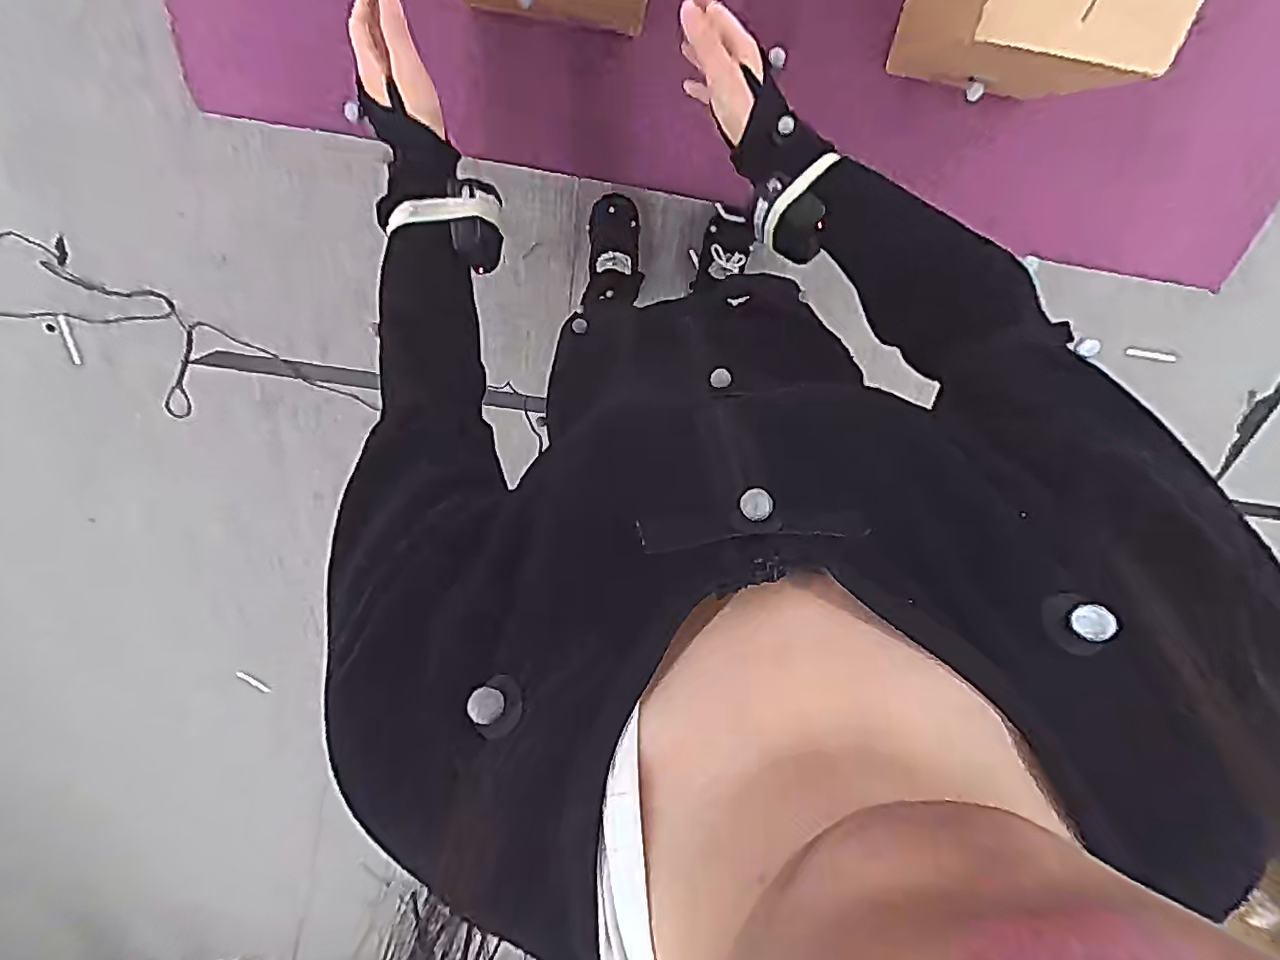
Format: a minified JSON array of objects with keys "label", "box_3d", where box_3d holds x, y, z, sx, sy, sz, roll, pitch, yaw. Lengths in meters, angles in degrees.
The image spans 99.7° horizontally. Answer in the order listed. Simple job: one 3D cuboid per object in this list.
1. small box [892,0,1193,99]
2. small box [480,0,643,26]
[{"label":"small box","box_3d":[0.345,-0.449,0.457,0.168,0.176,0.179,7,120,-5]},{"label":"small box","box_3d":[-0.071,-0.486,0.422,0.179,0.176,0.168,6,119,-5]}]
